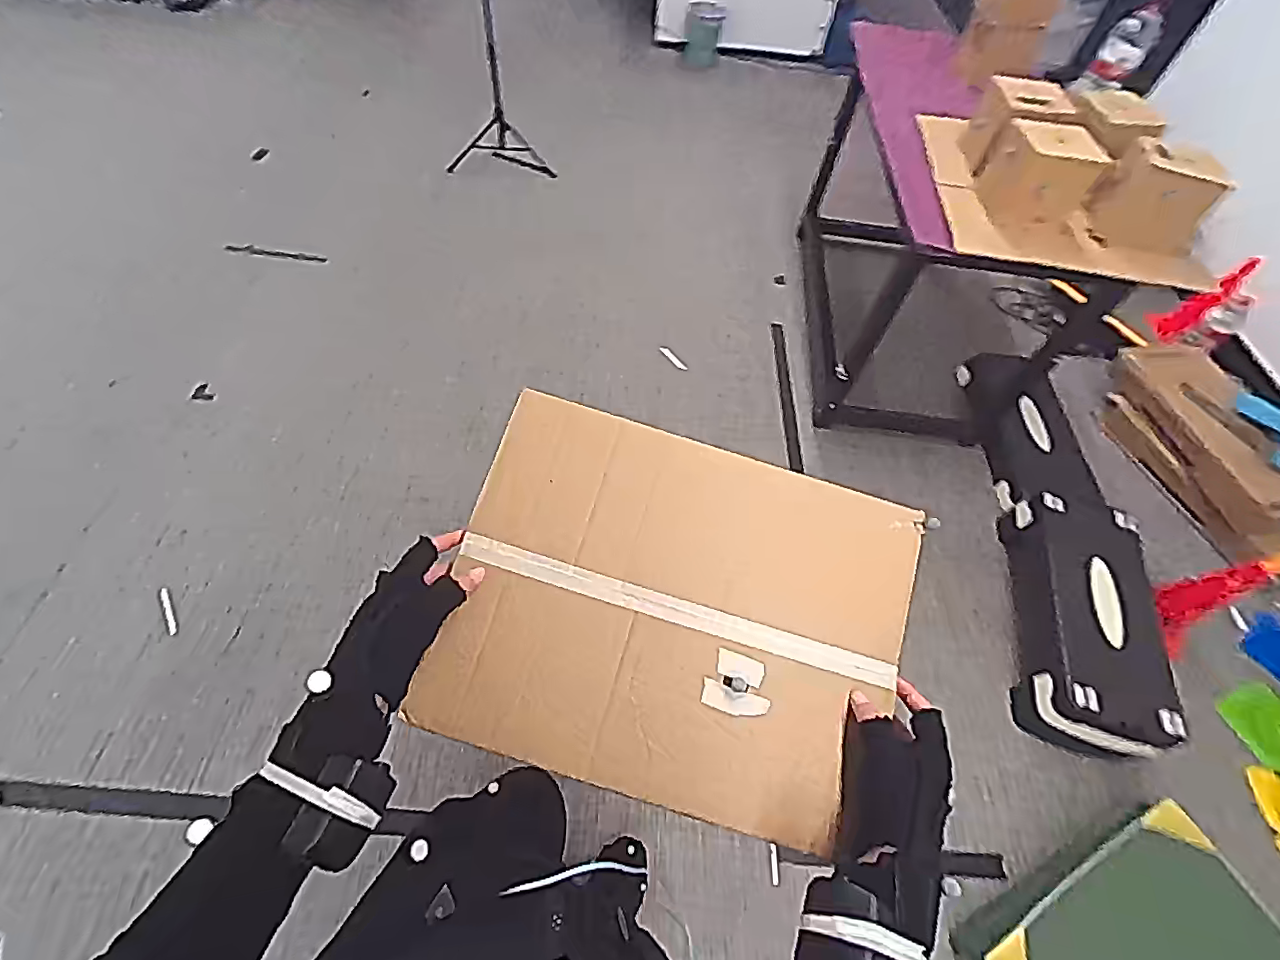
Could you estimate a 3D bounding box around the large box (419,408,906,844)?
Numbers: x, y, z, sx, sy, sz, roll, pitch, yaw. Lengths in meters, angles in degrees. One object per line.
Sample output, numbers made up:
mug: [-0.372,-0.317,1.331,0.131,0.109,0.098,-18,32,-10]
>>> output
large box: [0.025,0.155,0.648,0.408,0.320,0.320,17,77,0]
